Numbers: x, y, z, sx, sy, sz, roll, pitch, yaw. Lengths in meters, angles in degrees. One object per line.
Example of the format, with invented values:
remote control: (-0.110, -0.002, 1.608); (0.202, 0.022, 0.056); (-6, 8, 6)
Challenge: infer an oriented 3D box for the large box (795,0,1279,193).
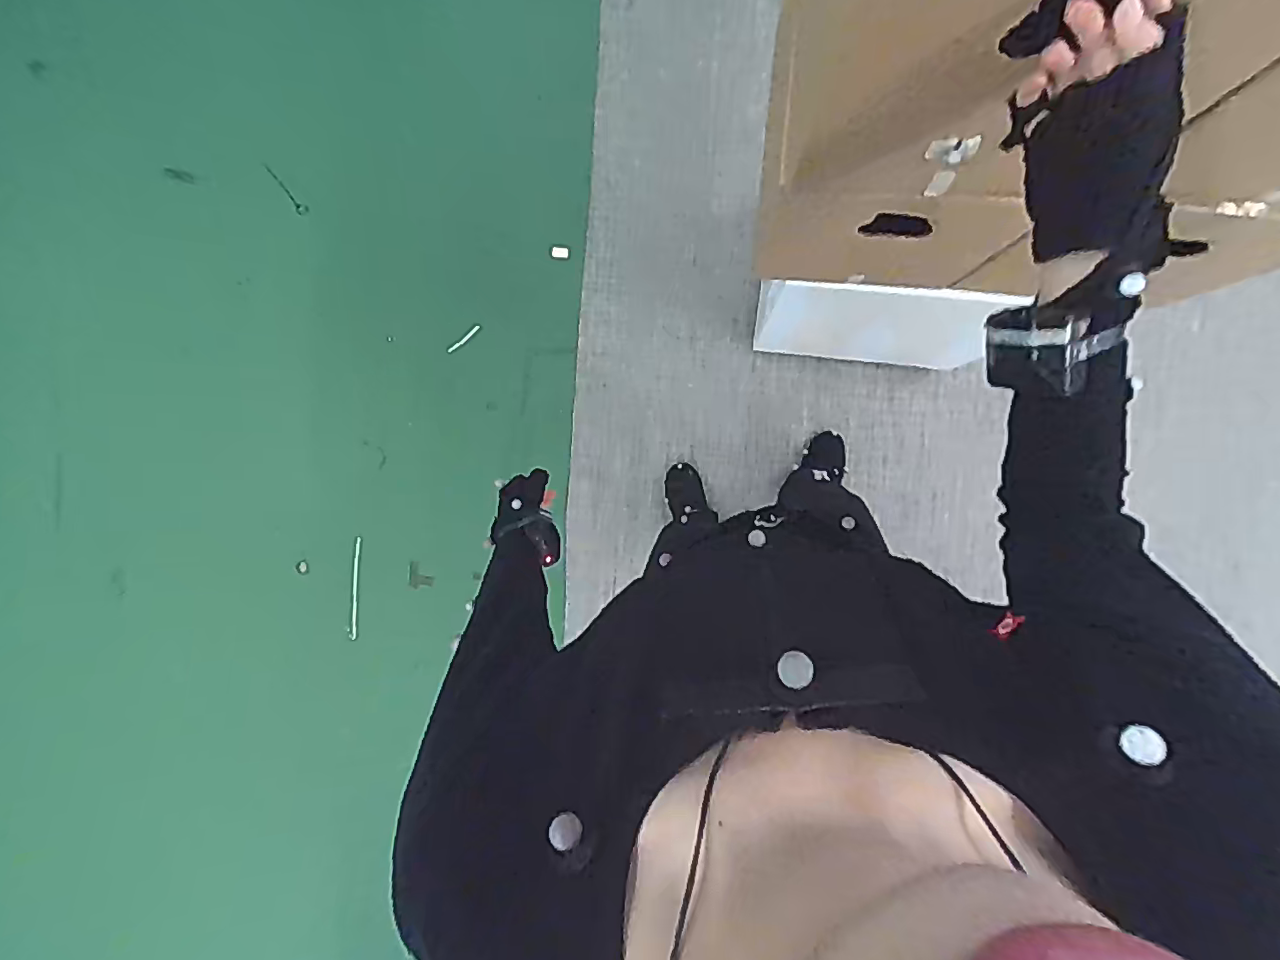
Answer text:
large box: (0.303, -0.502, 0.420); (0.320, 0.320, 0.408); (2, 91, 6)
